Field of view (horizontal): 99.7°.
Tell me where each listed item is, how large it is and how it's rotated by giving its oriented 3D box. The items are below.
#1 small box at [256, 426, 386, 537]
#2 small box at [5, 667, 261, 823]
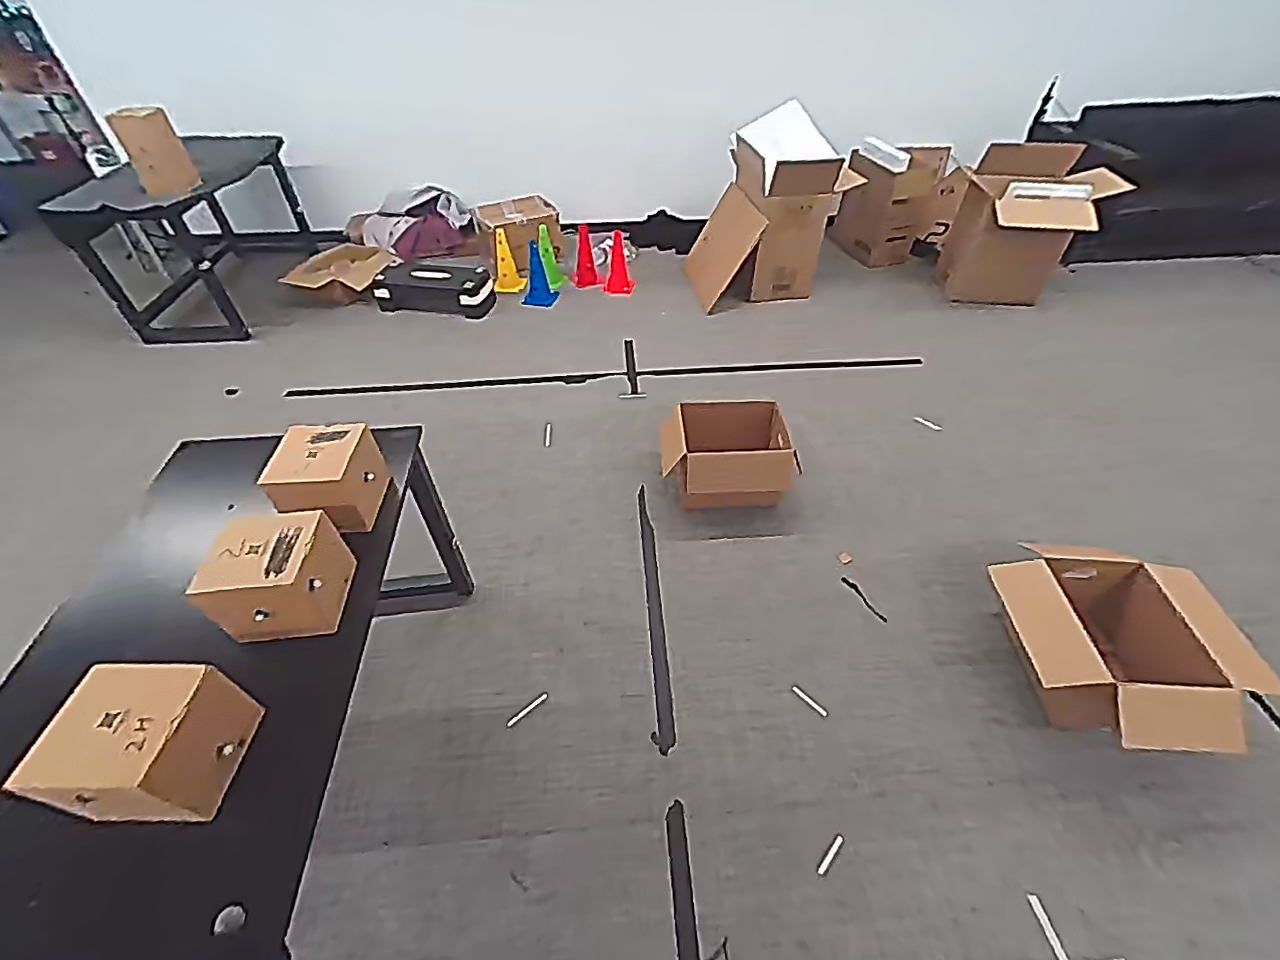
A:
[{"bbox_3d":[-0.675,0.003,1.172,0.168,0.176,0.179,-3,47,-2],"label":"small box"},{"bbox_3d":[-0.716,0.390,0.793,0.179,0.176,0.168,0,46,0],"label":"small box"}]
